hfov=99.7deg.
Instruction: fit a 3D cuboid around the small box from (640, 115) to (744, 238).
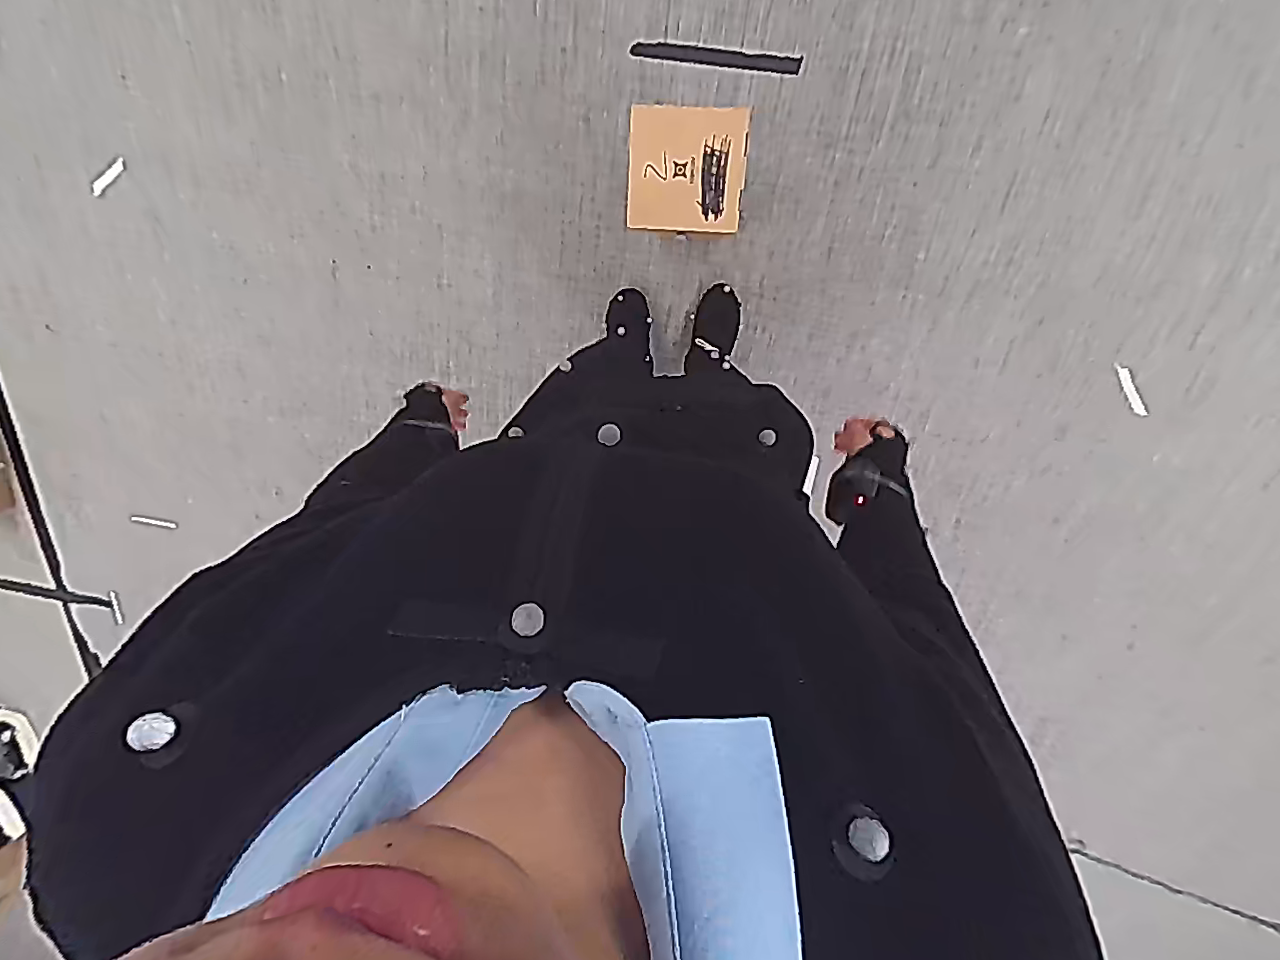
[{"bbox_3d":[0.095,-0.564,1.025,0.168,0.176,0.179,7,114,3],"label":"small box"}]
